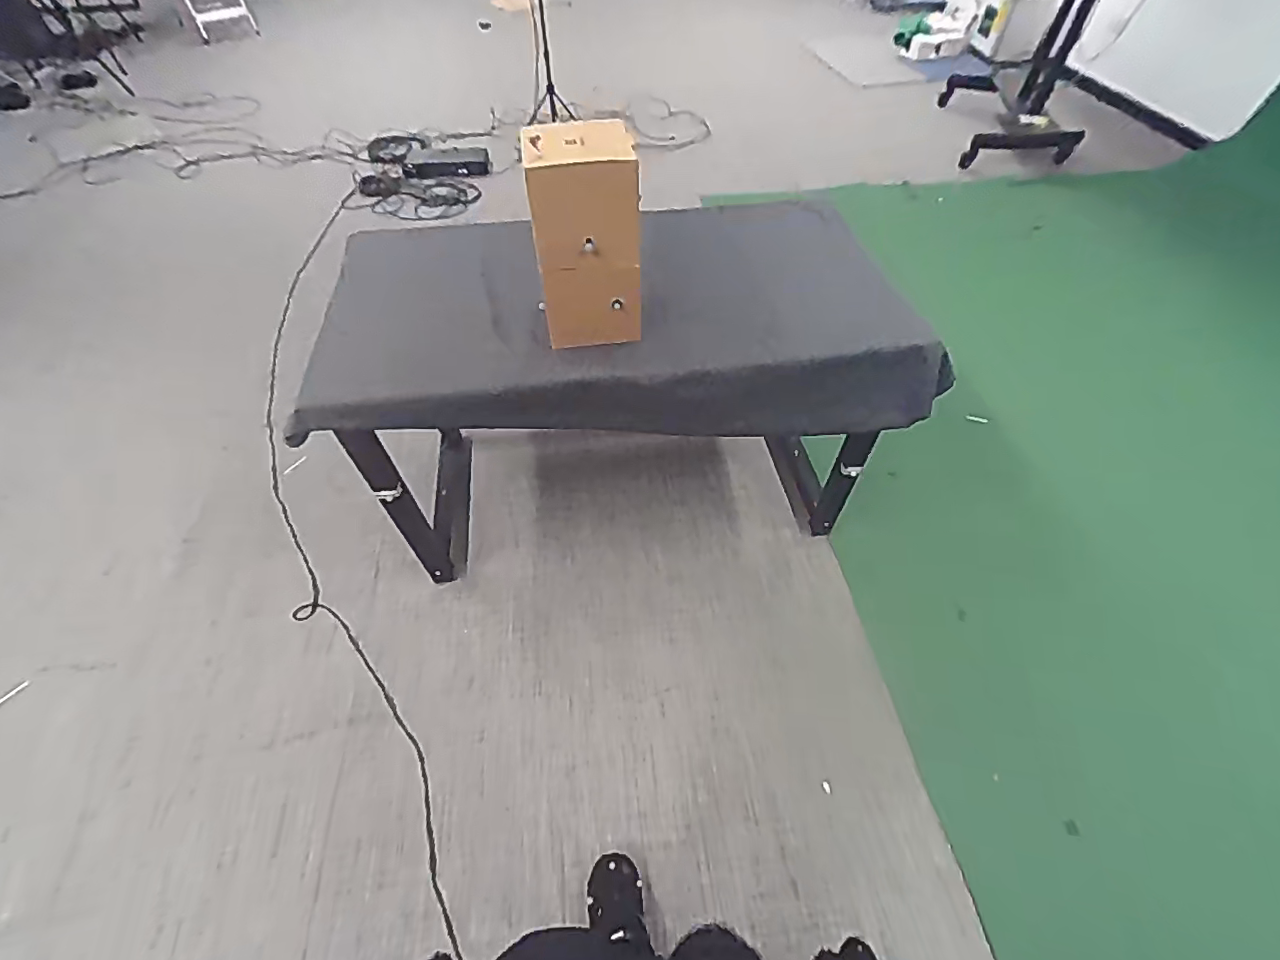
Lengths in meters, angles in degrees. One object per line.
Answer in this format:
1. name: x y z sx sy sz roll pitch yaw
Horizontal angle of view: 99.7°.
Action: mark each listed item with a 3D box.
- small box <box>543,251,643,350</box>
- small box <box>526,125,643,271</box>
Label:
1. small box: -0.091 -0.373 1.048 0.179 0.176 0.168 -8 51 -4
2. small box: -0.094 -0.478 0.923 0.179 0.176 0.168 -7 51 -6
